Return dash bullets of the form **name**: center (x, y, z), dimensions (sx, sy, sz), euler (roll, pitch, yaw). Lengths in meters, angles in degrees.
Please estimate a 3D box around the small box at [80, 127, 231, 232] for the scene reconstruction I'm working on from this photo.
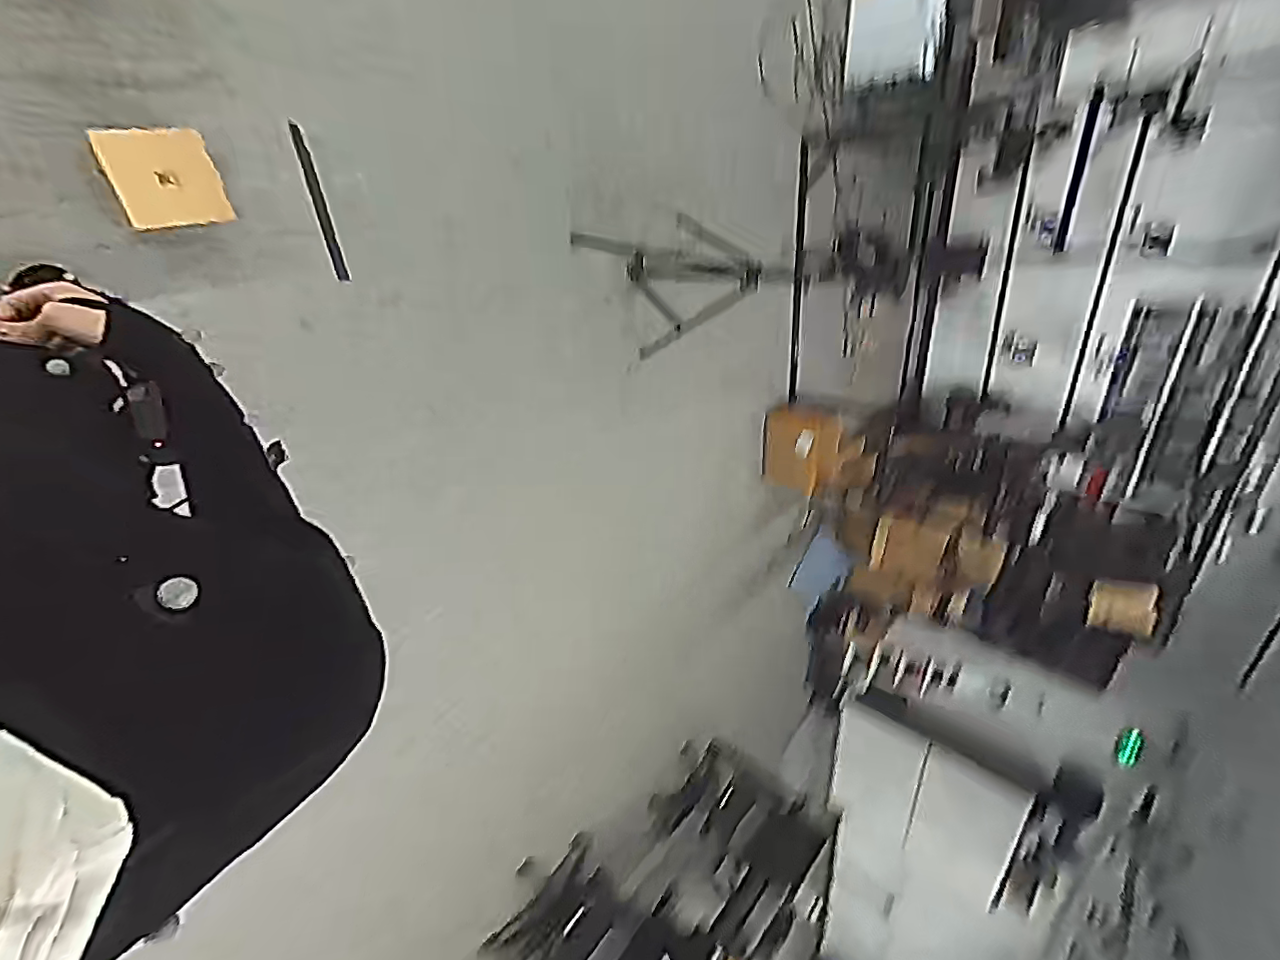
- **small box**: center (-0.979, -0.603, 1.094), dimensions (0.179, 0.176, 0.168), euler (-32, 126, -38)
